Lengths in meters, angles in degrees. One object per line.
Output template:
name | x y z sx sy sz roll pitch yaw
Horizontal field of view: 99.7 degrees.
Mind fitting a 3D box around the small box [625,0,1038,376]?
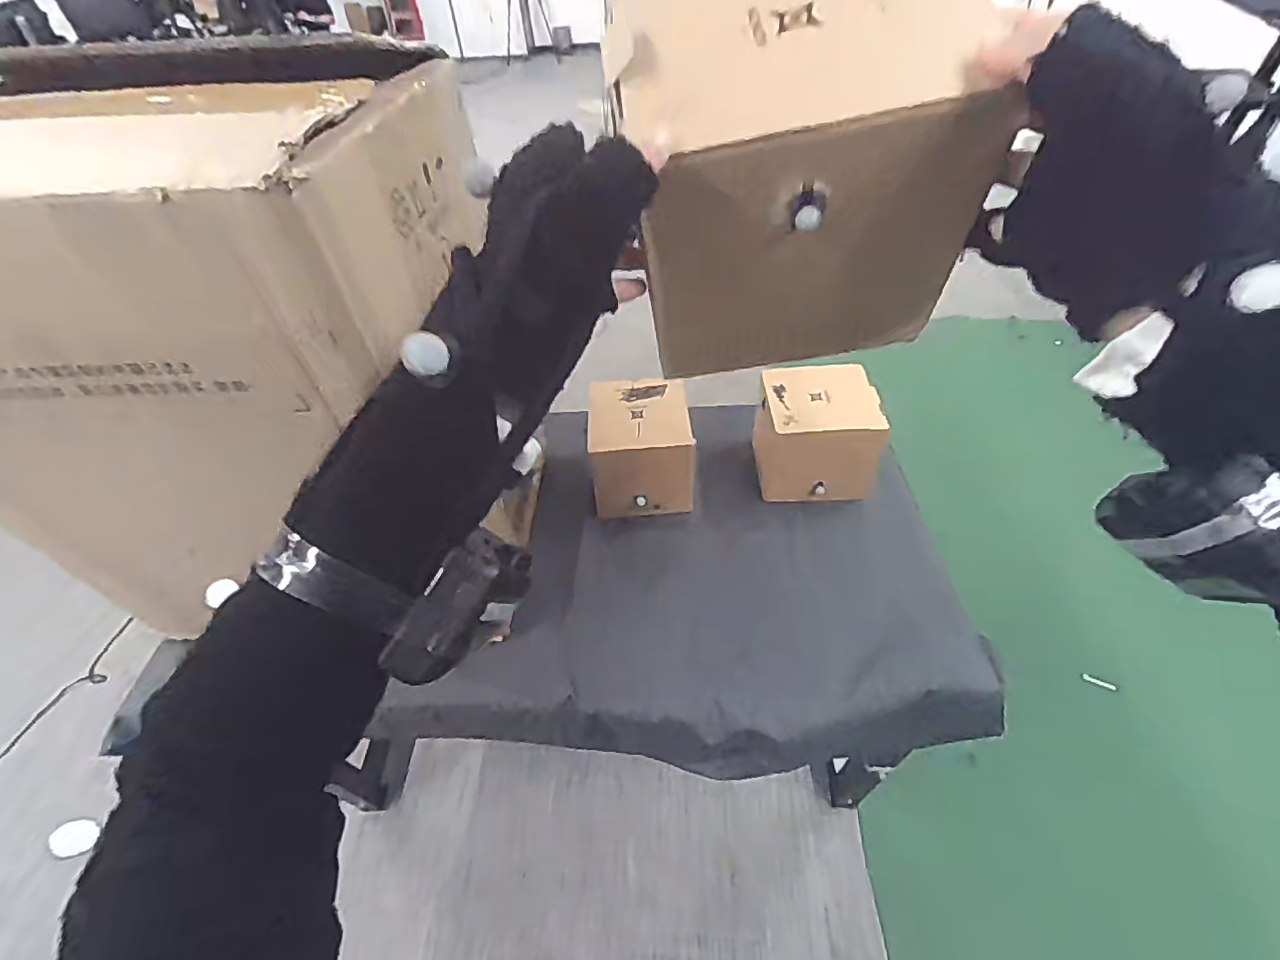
small box | 0.093 -0.185 0.346 0.179 0.176 0.168 -7 64 4

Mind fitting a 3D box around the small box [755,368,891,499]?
small box | 0.307 -0.078 0.946 0.179 0.176 0.168 -1 47 2
